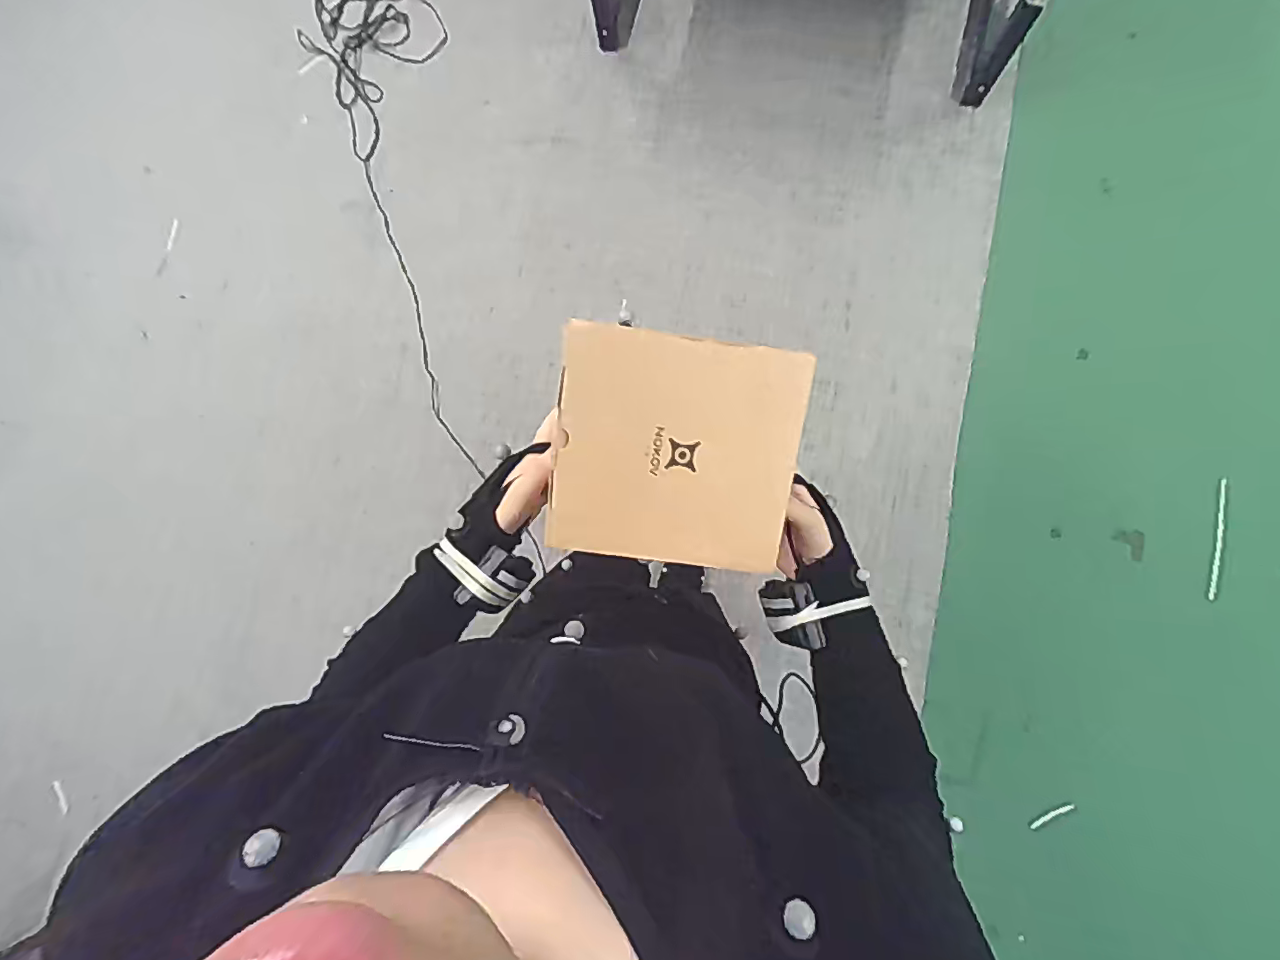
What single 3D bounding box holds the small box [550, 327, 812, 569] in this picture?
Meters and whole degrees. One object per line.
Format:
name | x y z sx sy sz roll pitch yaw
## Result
small box | 0.026 -0.035 0.473 0.179 0.176 0.168 6 101 -2
